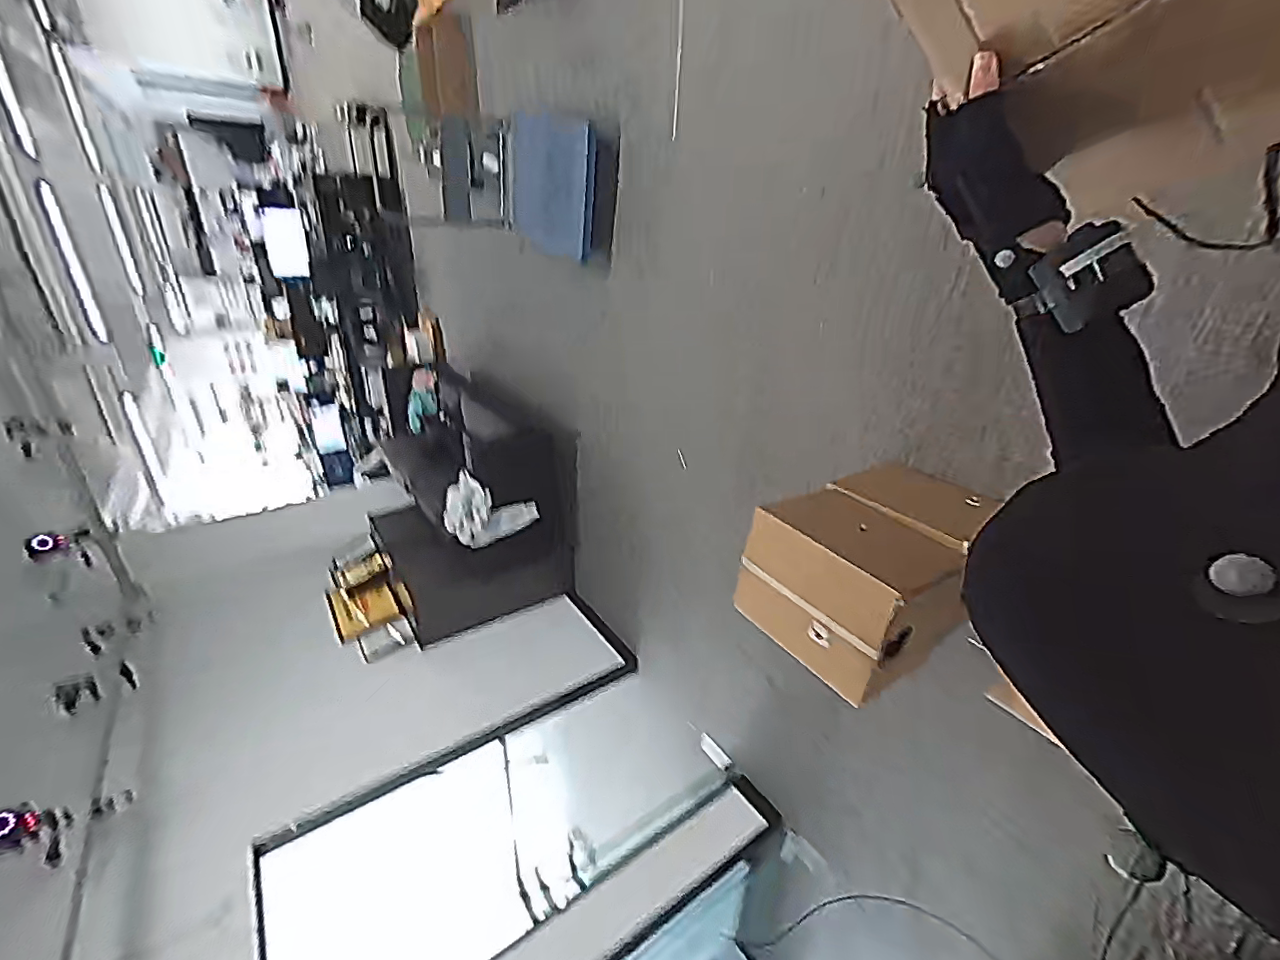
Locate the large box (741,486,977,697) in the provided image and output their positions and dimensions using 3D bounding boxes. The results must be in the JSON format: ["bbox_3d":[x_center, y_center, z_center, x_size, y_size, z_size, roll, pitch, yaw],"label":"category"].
[{"bbox_3d":[0.524,0.244,1.352,0.408,0.320,0.320,35,126,45],"label":"large box"}]
